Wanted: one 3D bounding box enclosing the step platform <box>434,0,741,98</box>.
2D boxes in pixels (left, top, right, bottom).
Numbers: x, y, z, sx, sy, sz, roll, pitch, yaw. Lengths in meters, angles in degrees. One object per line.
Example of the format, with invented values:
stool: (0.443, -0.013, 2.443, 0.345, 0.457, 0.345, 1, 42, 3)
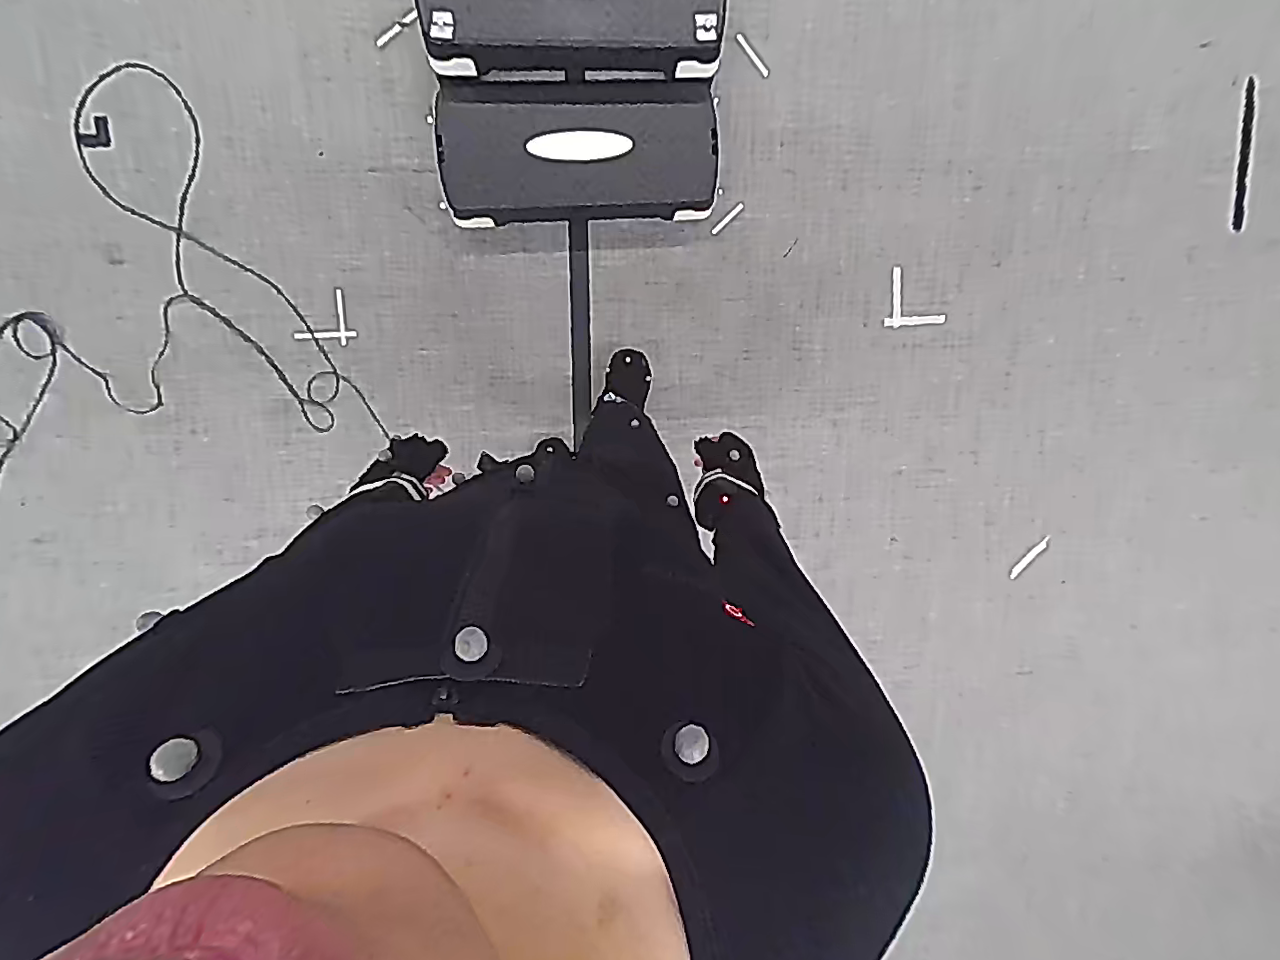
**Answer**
step platform: (-0.115, -1.081, 1.233, 0.684, 0.204, 0.286, -4, 98, -5)
